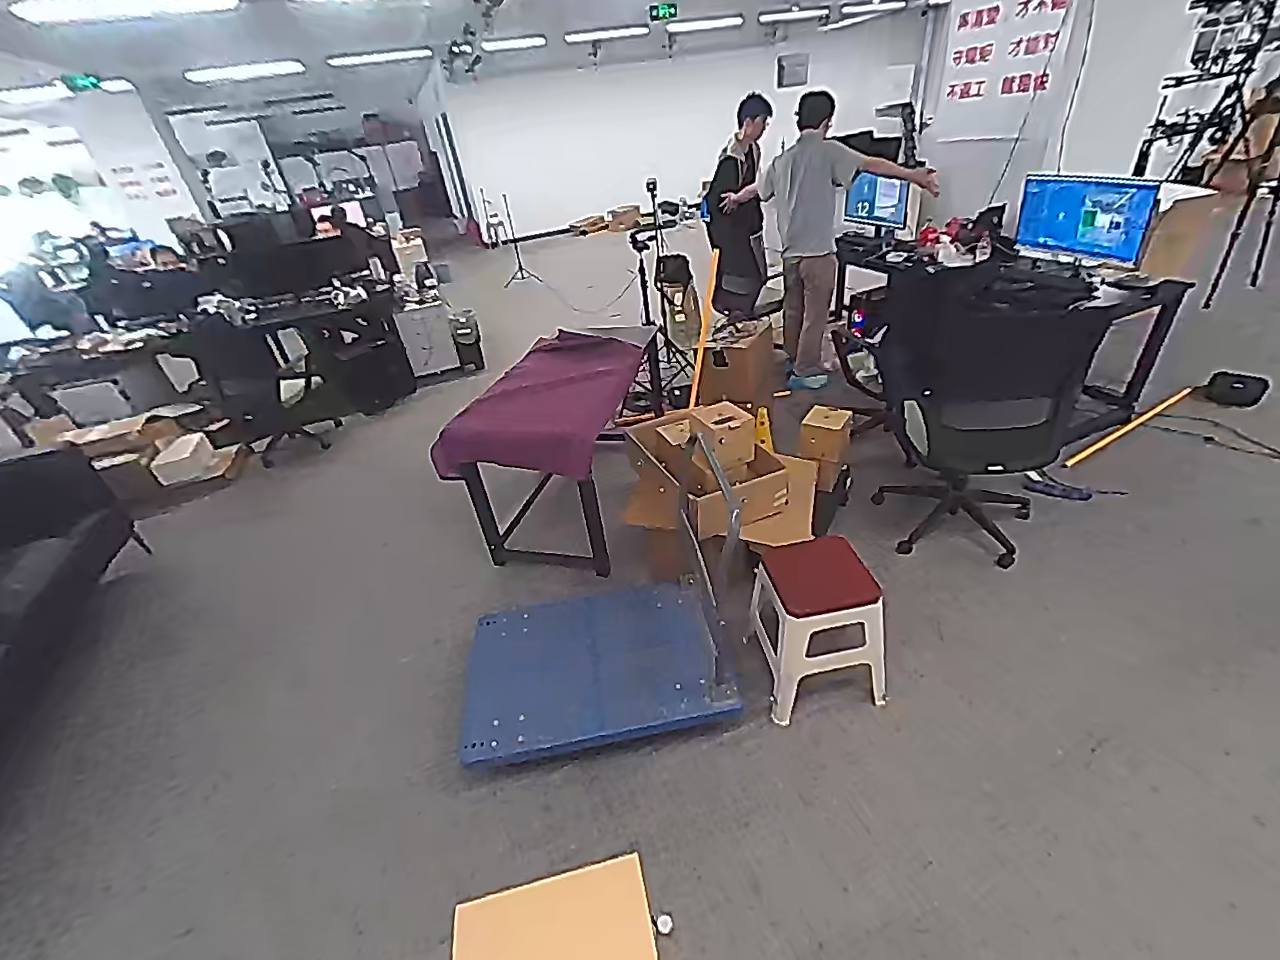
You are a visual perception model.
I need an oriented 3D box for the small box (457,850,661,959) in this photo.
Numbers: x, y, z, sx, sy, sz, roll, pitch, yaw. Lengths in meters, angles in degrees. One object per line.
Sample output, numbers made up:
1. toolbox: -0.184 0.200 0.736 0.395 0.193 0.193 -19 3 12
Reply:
1. small box: -0.058 0.469 0.466 0.168 0.176 0.179 -11 34 -7
